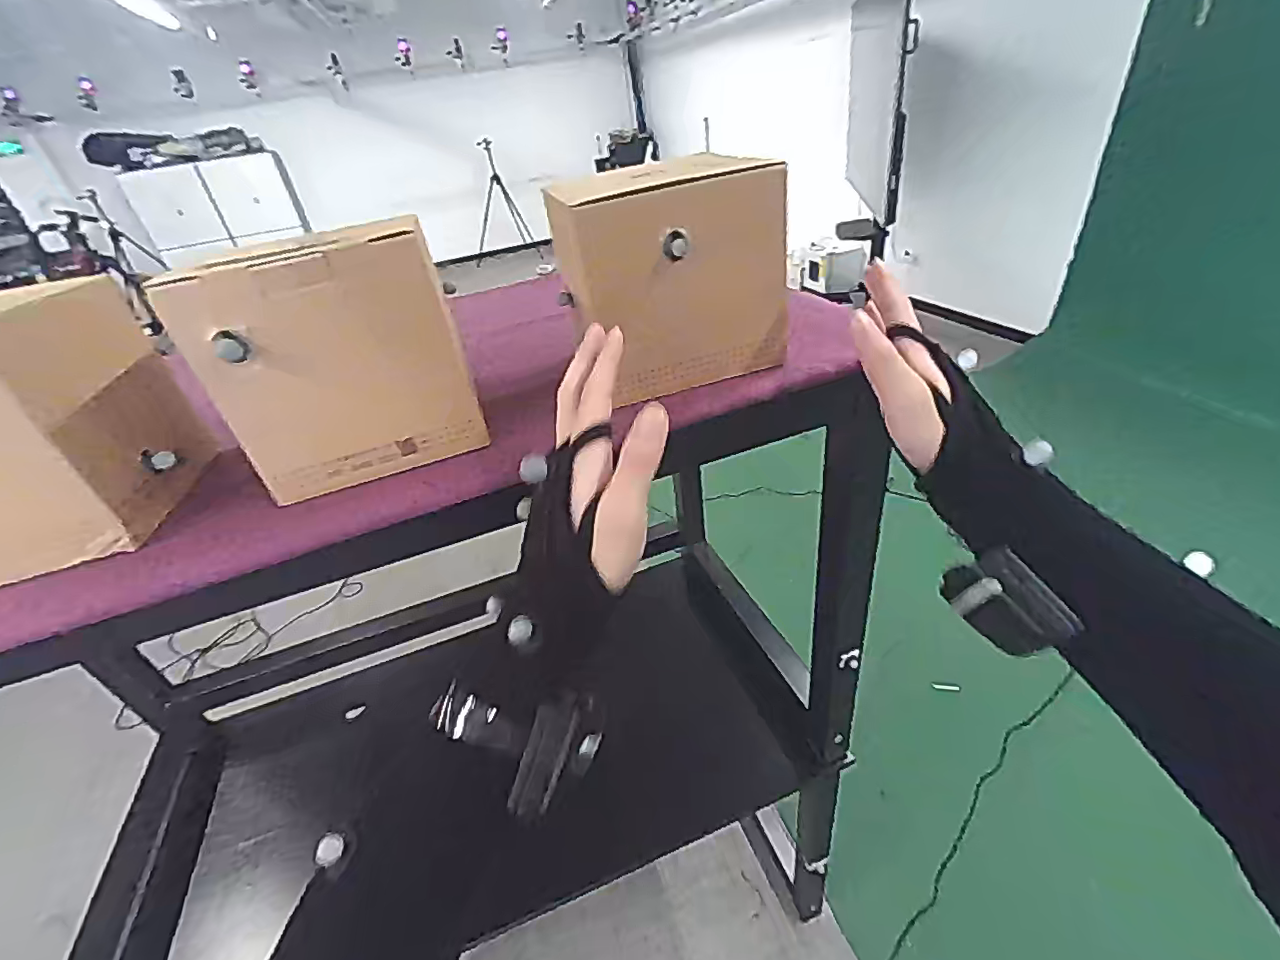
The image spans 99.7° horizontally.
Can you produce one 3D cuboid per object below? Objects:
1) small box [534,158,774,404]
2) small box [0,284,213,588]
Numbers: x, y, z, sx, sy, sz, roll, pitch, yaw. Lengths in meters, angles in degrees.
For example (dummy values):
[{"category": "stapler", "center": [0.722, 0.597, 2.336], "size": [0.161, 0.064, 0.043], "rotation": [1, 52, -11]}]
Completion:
[{"category": "small box", "center": [0.013, -0.188, 0.506], "size": [0.179, 0.176, 0.168], "rotation": [-16, 35, -8]}, {"category": "small box", "center": [-0.476, -0.027, 0.395], "size": [0.179, 0.176, 0.168], "rotation": [-15, 33, -10]}]
